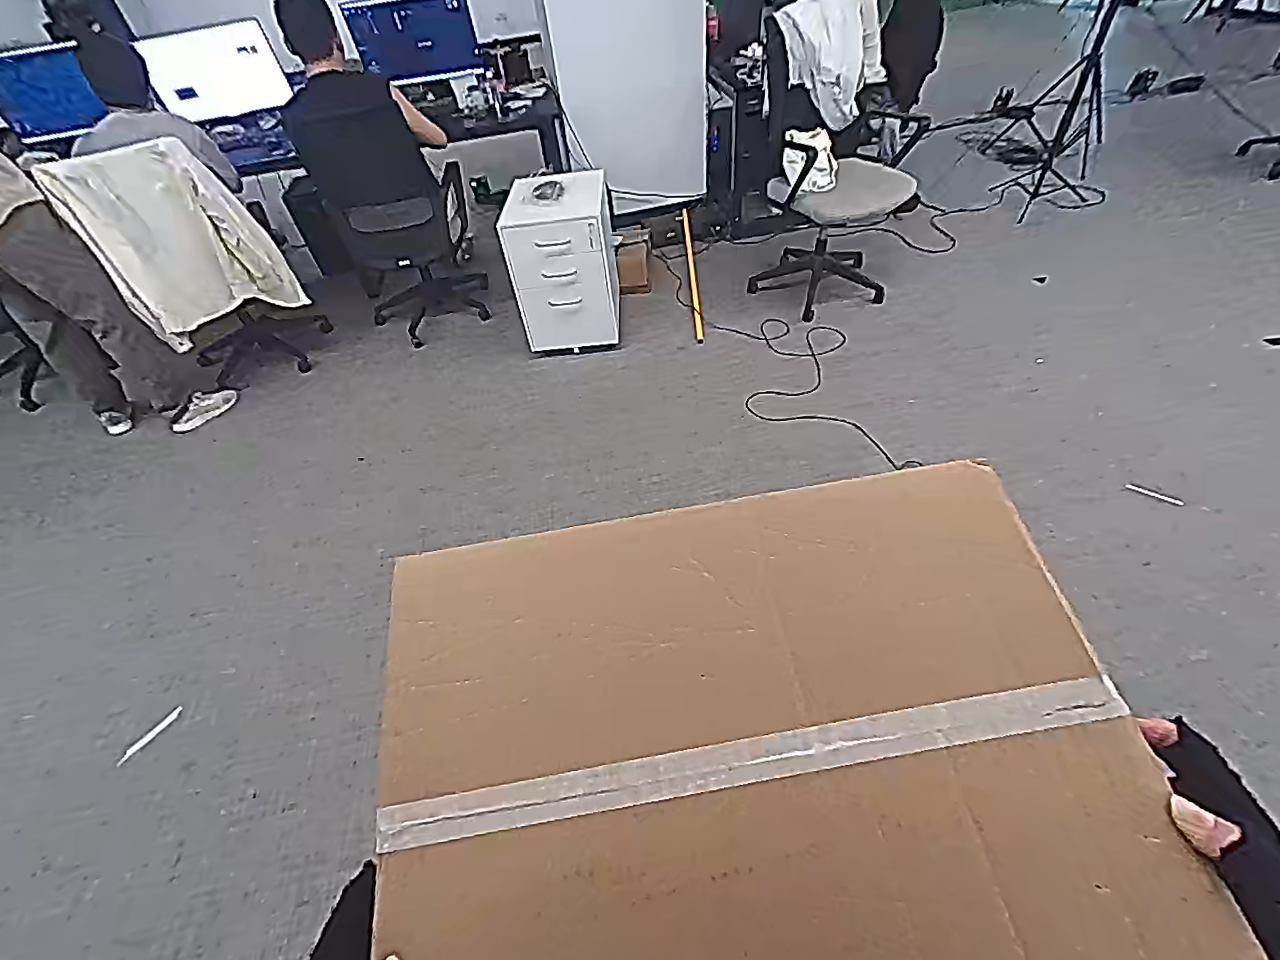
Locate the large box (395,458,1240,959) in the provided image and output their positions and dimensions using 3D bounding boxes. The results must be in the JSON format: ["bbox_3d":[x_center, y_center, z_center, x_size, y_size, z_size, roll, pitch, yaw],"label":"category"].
[{"bbox_3d":[0.070,0.222,0.436,0.408,0.320,0.320,-10,62,-1],"label":"large box"}]
